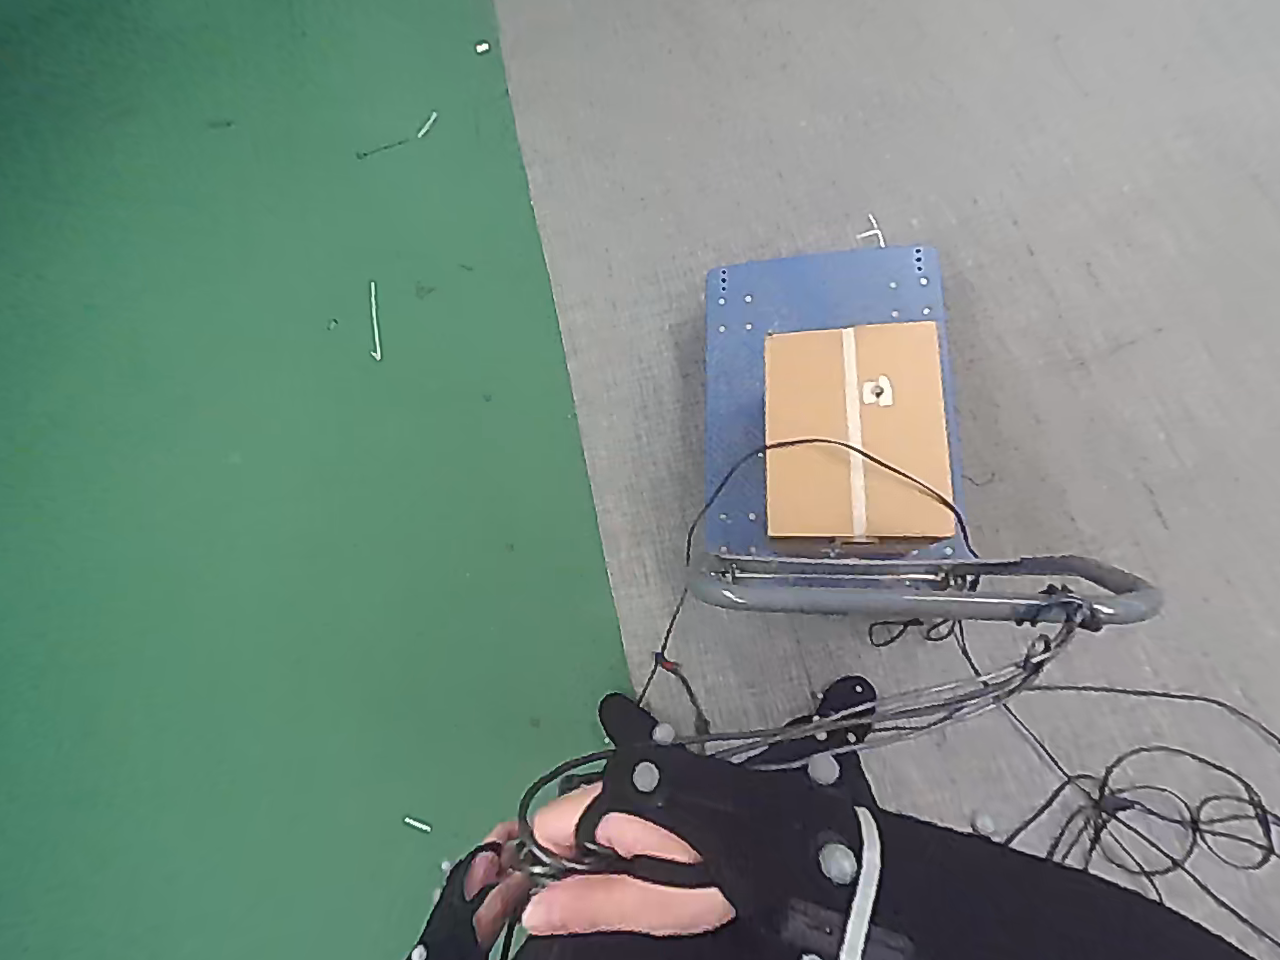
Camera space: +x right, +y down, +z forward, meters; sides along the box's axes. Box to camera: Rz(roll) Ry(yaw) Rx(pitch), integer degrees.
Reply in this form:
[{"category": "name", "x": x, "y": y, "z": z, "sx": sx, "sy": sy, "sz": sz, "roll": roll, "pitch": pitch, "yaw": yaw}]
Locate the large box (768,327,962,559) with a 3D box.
[{"category": "large box", "x": 0.432, "y": -0.050, "z": 1.123, "sx": 0.320, "sy": 0.320, "sz": 0.408, "roll": -1, "pitch": 76, "yaw": 13}]
